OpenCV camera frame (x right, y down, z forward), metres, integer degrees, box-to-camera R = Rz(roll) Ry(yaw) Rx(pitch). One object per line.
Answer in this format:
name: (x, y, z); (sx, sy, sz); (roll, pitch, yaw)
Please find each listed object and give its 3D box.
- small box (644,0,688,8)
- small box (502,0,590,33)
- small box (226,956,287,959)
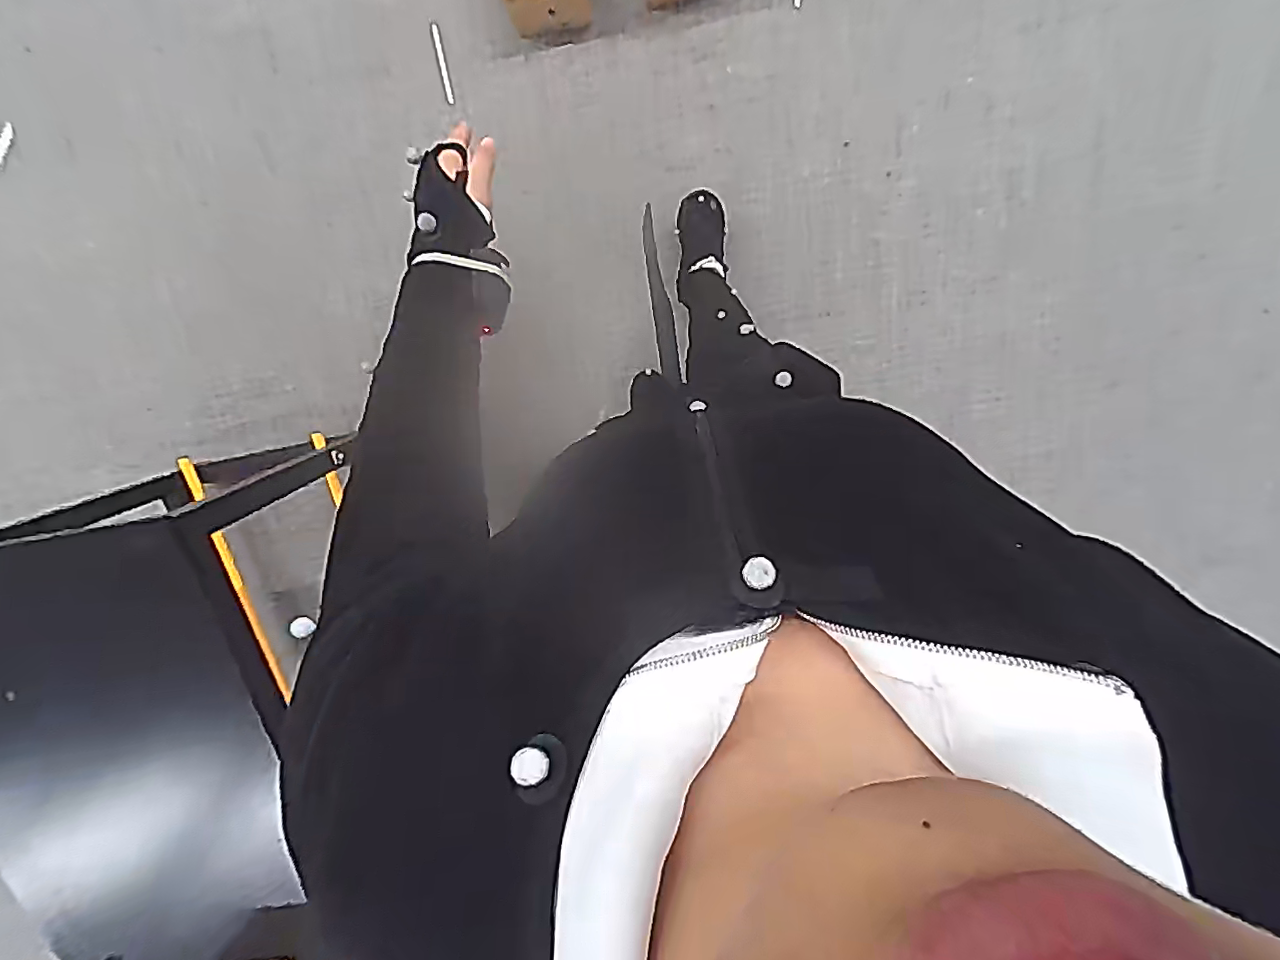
small box: (0.083, -1.105, 1.088); (0.179, 0.176, 0.168); (-11, 107, 3)
small box: (-0.201, -1.055, 1.104); (0.168, 0.176, 0.179); (-7, 108, 3)
small box: (-0.738, 1.030, 0.993); (0.168, 0.176, 0.179); (-9, 106, 3)
